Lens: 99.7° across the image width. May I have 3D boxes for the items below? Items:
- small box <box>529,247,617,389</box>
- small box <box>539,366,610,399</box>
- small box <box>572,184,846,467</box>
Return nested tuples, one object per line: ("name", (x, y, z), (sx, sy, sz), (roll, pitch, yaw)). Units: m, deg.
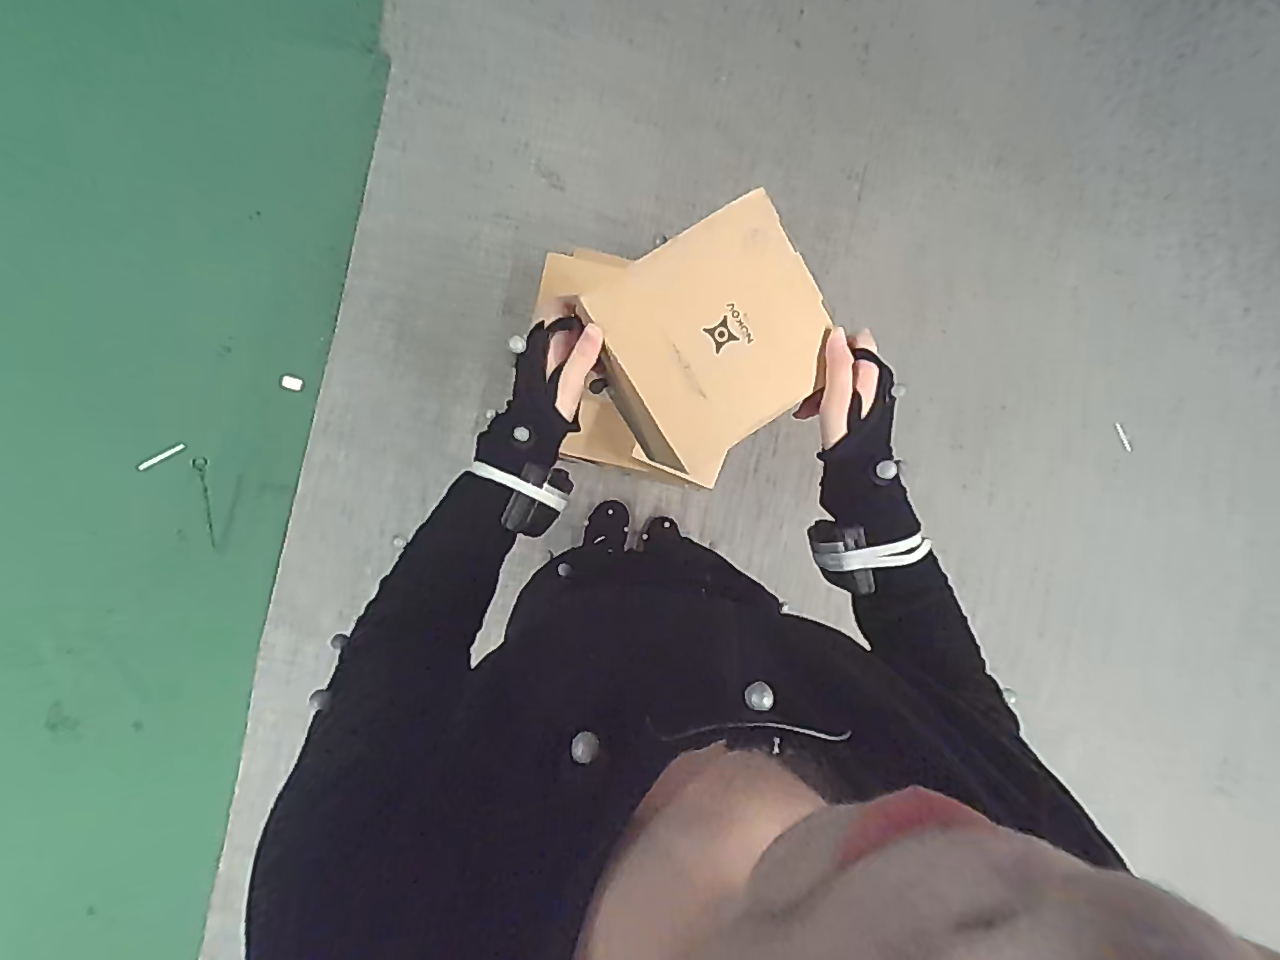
("small box", (-0.087, -0.270, 0.943), (0.168, 0.176, 0.179), (13, 89, -4))
("small box", (-0.098, -0.268, 1.106), (0.179, 0.176, 0.168), (11, 88, -4))
("small box", (0.049, -0.133, 0.510), (0.179, 0.176, 0.168), (-32, 101, -4))
